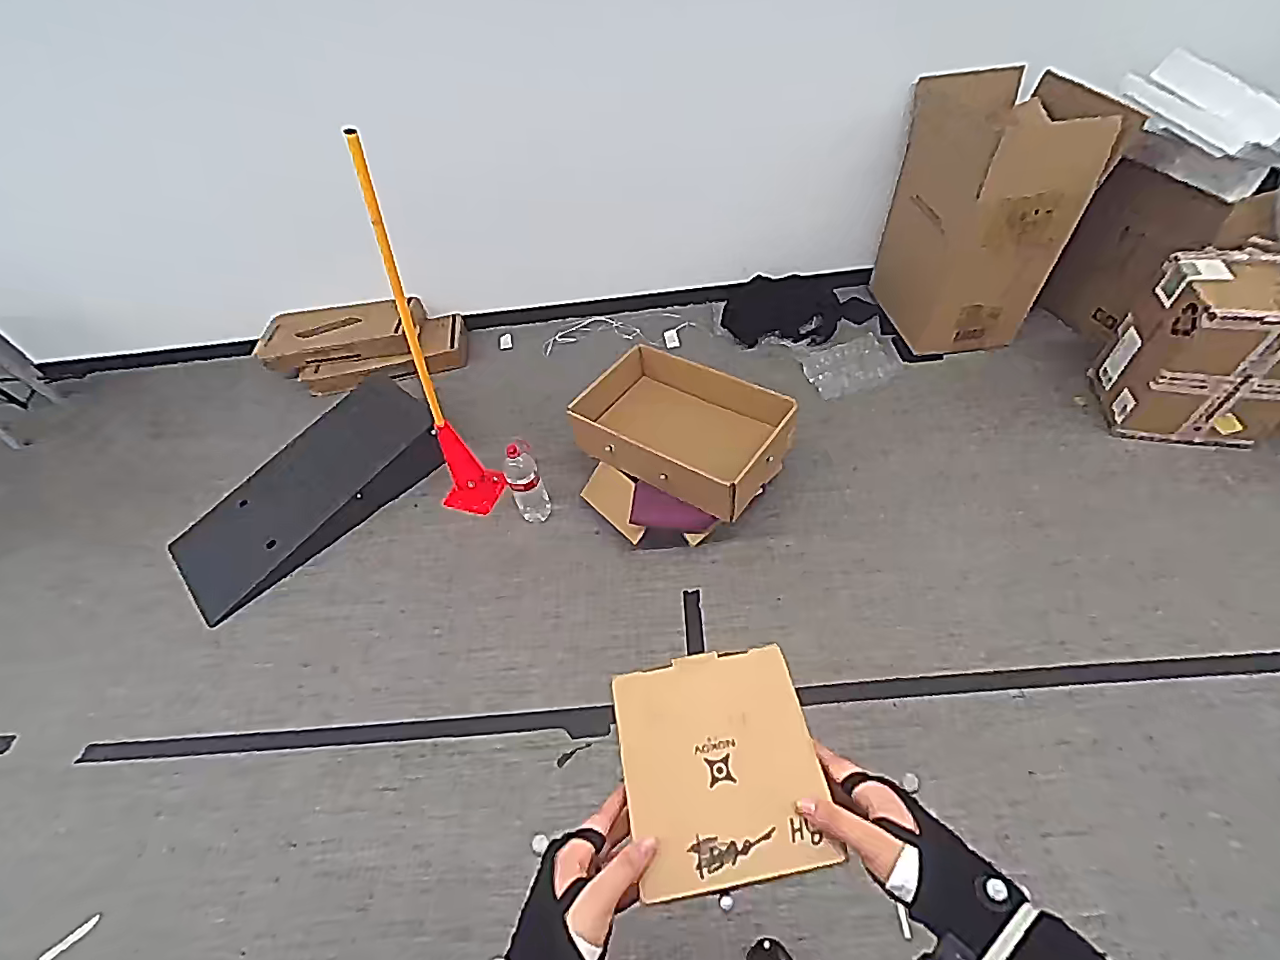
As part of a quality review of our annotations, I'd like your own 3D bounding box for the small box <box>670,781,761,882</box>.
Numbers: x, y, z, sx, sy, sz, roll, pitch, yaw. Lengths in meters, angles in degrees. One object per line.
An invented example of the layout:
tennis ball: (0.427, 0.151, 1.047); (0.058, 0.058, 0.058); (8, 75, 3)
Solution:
small box: (0.163, 0.775, 1.189); (0.179, 0.176, 0.168); (-6, 48, 4)
